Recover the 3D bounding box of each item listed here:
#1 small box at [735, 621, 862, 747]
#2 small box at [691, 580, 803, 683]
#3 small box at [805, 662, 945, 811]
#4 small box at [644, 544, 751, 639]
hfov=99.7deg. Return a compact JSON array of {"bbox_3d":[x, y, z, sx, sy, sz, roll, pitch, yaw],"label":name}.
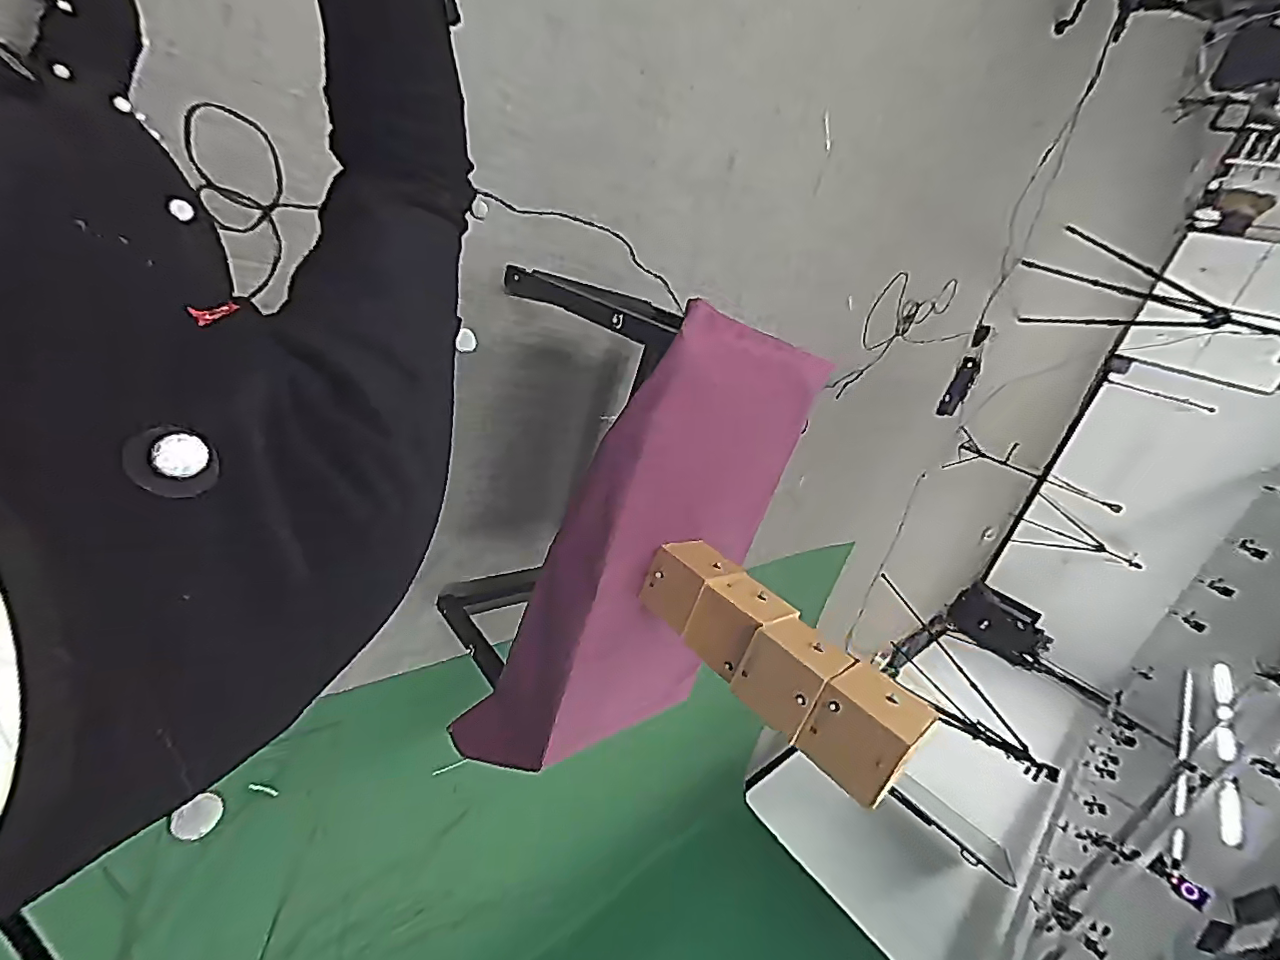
[{"bbox_3d":[0.335,0.421,1.152,0.179,0.176,0.168,4,113,-48],"label":"small box"},{"bbox_3d":[0.246,0.349,1.272,0.168,0.176,0.179,0,115,-46],"label":"small box"},{"bbox_3d":[0.453,0.490,1.058,0.179,0.176,0.168,-2,117,-46],"label":"small box"},{"bbox_3d":[0.143,0.273,1.370,0.179,0.176,0.168,3,113,-46],"label":"small box"}]
